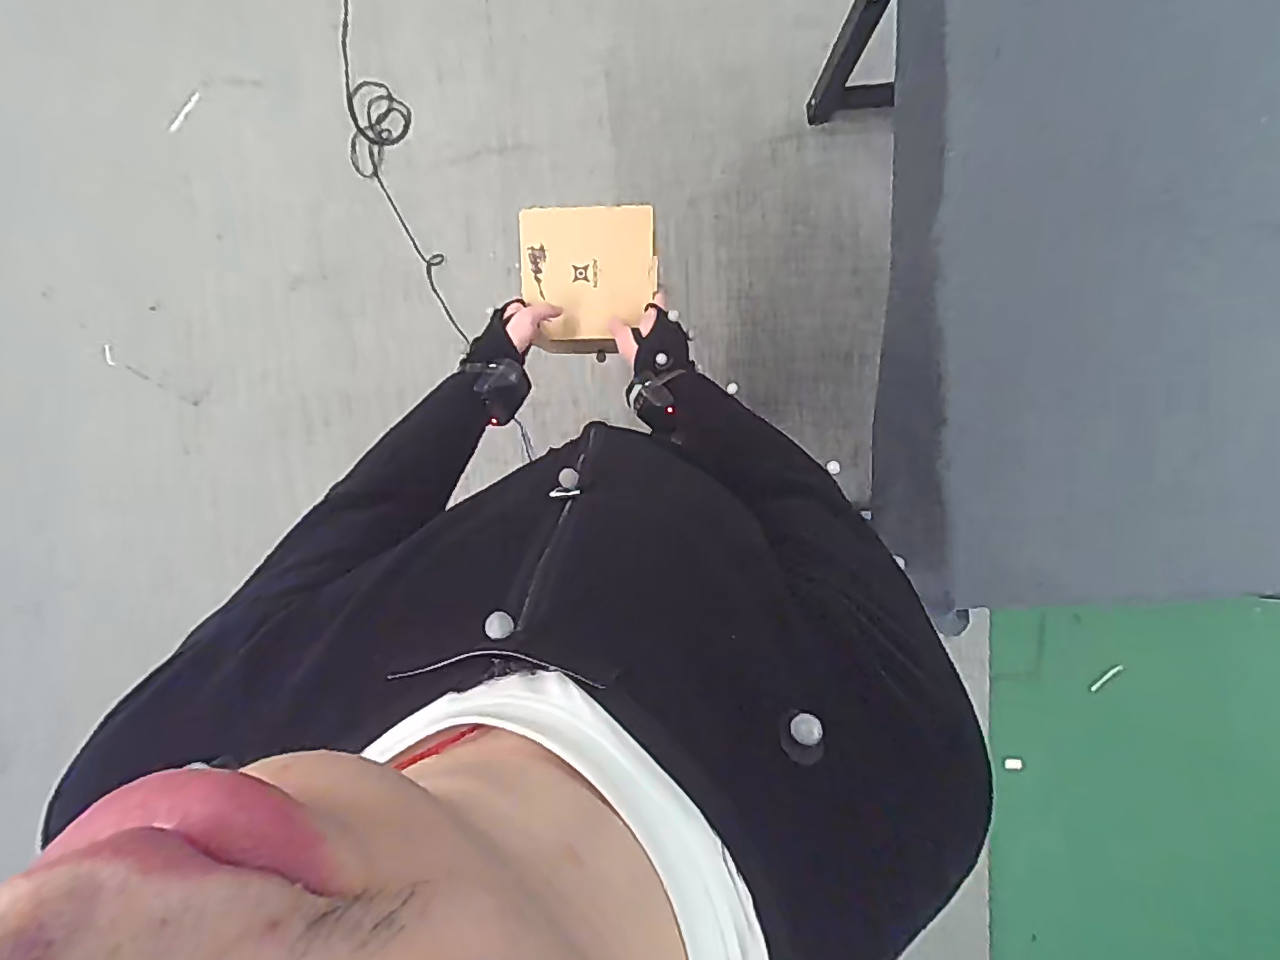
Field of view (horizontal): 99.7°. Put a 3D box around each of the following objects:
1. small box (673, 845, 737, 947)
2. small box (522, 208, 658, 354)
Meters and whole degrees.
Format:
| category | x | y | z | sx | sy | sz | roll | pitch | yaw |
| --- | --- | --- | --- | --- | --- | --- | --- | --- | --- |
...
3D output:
| category | x | y | z | sx | sy | sz | roll | pitch | yaw |
| --- | --- | --- | --- | --- | --- | --- | --- | --- | --- |
| small box | 0.187 | 1.214 | 1.584 | 0.168 | 0.176 | 0.179 | -1 | 95 | -1 |
| small box | -0.064 | -0.275 | 0.776 | 0.179 | 0.176 | 0.168 | 1 | 97 | 2 |
